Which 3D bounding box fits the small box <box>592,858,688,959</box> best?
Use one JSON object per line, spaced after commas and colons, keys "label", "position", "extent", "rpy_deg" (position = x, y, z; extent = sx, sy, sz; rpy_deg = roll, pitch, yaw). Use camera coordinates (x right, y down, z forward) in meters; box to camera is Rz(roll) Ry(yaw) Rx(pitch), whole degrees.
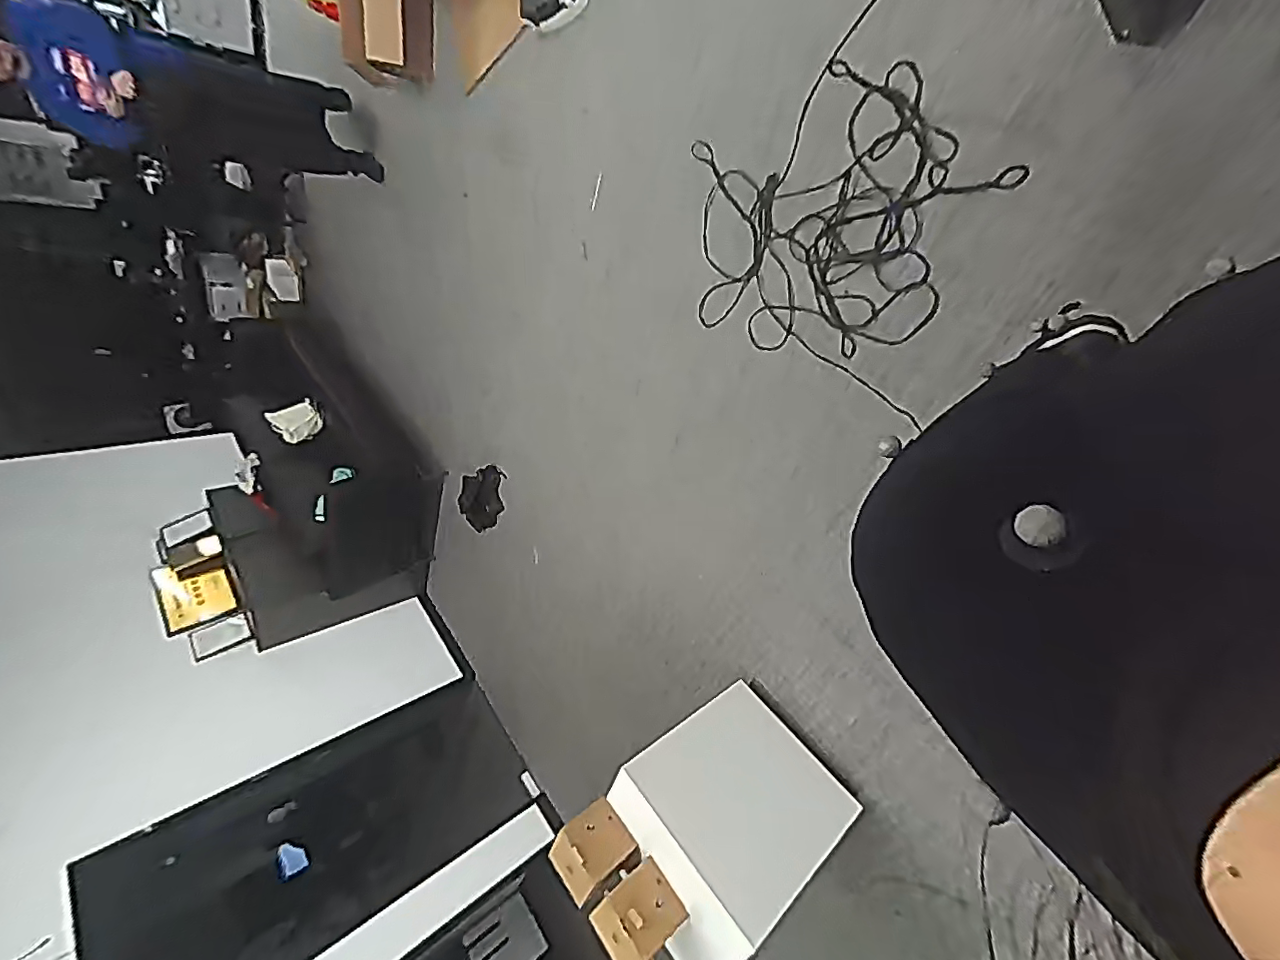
{"label": "small box", "position": [0.001, 1.169, 1.451], "extent": [0.168, 0.176, 0.179], "rpy_deg": [46, 130, 30]}

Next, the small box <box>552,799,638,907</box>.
{"label": "small box", "position": [-0.128, 1.069, 1.563], "extent": [0.168, 0.176, 0.179], "rpy_deg": [43, 130, 32]}
